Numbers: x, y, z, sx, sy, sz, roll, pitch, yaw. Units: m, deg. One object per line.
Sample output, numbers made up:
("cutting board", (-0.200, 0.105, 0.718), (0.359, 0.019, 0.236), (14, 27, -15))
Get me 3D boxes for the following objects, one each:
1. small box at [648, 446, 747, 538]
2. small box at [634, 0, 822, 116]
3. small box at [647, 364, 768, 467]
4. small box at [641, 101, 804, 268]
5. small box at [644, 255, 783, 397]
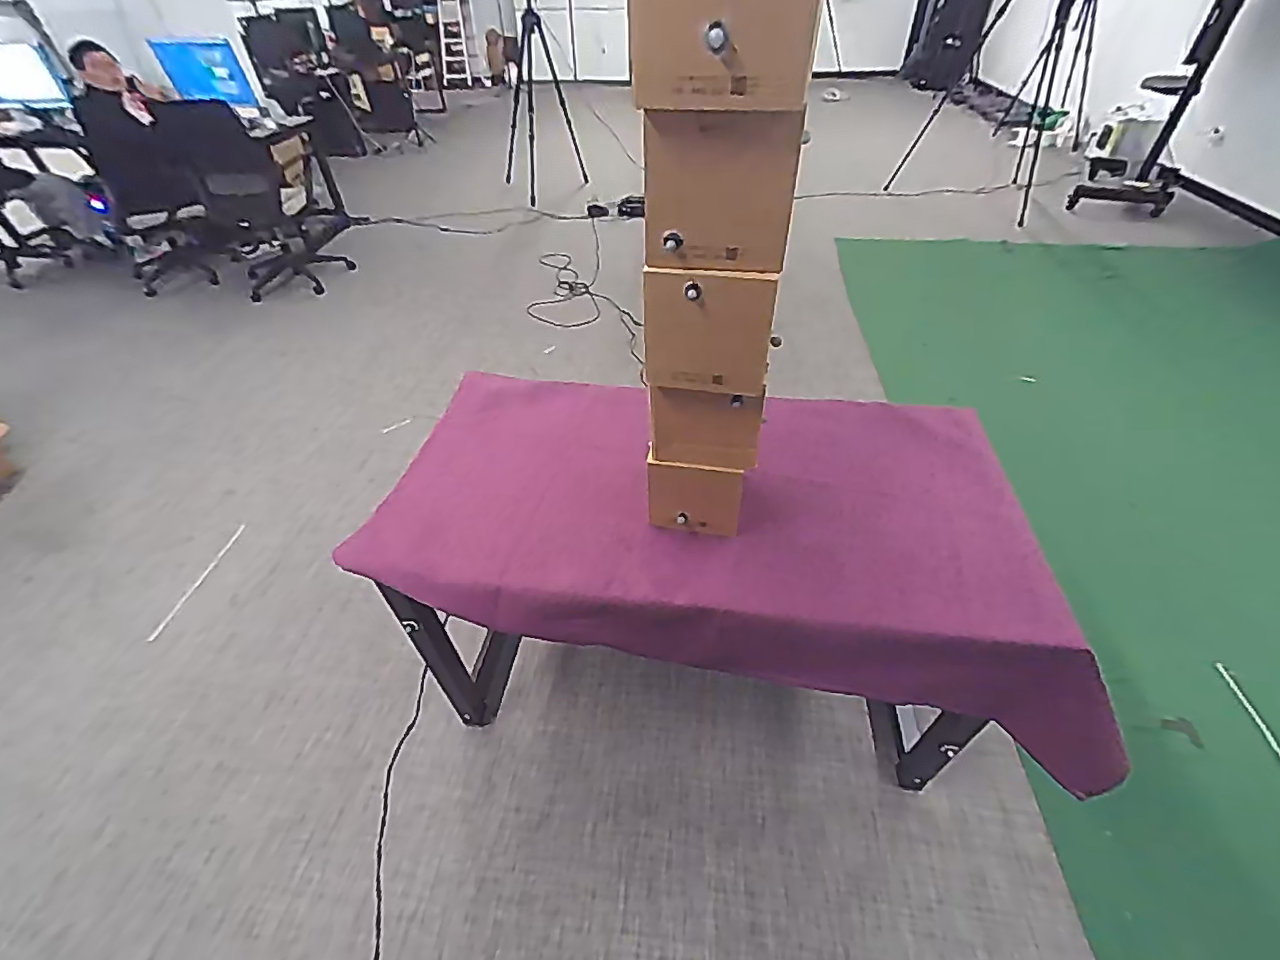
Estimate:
("small box", (0.111, -0.020, 0.995), (0.168, 0.176, 0.179), (7, 45, 10))
("small box", (0.090, -0.469, 0.519), (0.168, 0.176, 0.179), (9, 46, 12))
("small box", (0.113, -0.137, 0.884), (0.179, 0.176, 0.168), (6, 45, 9))
("small box", (0.098, -0.368, 0.651), (0.168, 0.176, 0.179), (5, 43, 8))
("small box", (0.104, -0.239, 0.754), (0.168, 0.176, 0.179), (8, 44, 11))
